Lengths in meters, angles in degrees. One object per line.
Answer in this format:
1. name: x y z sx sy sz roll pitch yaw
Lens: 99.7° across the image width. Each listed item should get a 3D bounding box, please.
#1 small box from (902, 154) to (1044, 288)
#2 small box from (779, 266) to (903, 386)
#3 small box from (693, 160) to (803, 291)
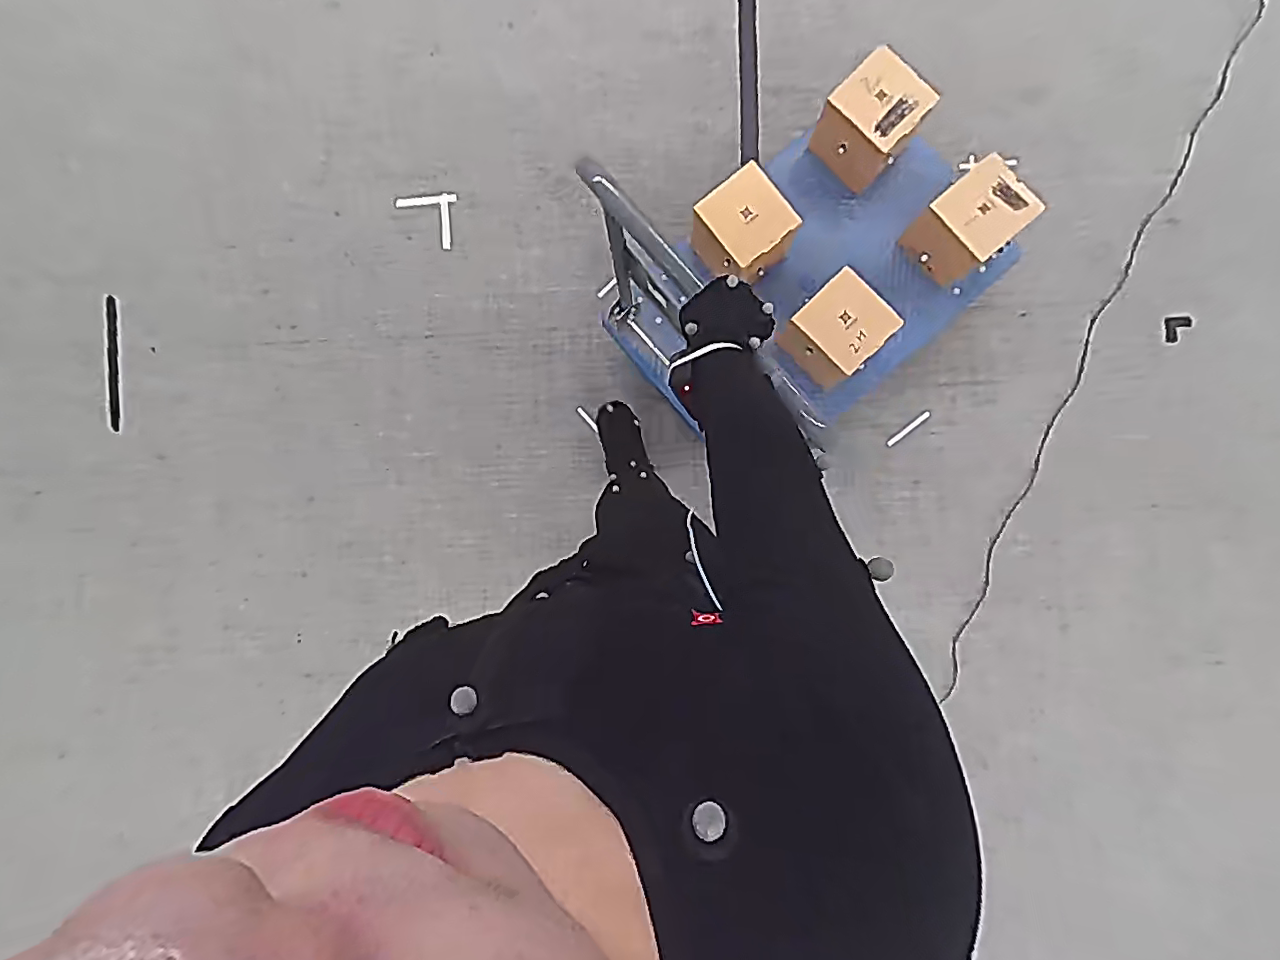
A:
1. small box: 0.731 -0.568 1.209 0.179 0.176 0.168 -40 88 2
2. small box: 0.439 -0.334 1.217 0.168 0.176 0.179 -43 87 1
3. small box: 0.235 -0.567 1.232 0.168 0.176 0.179 -38 89 1
